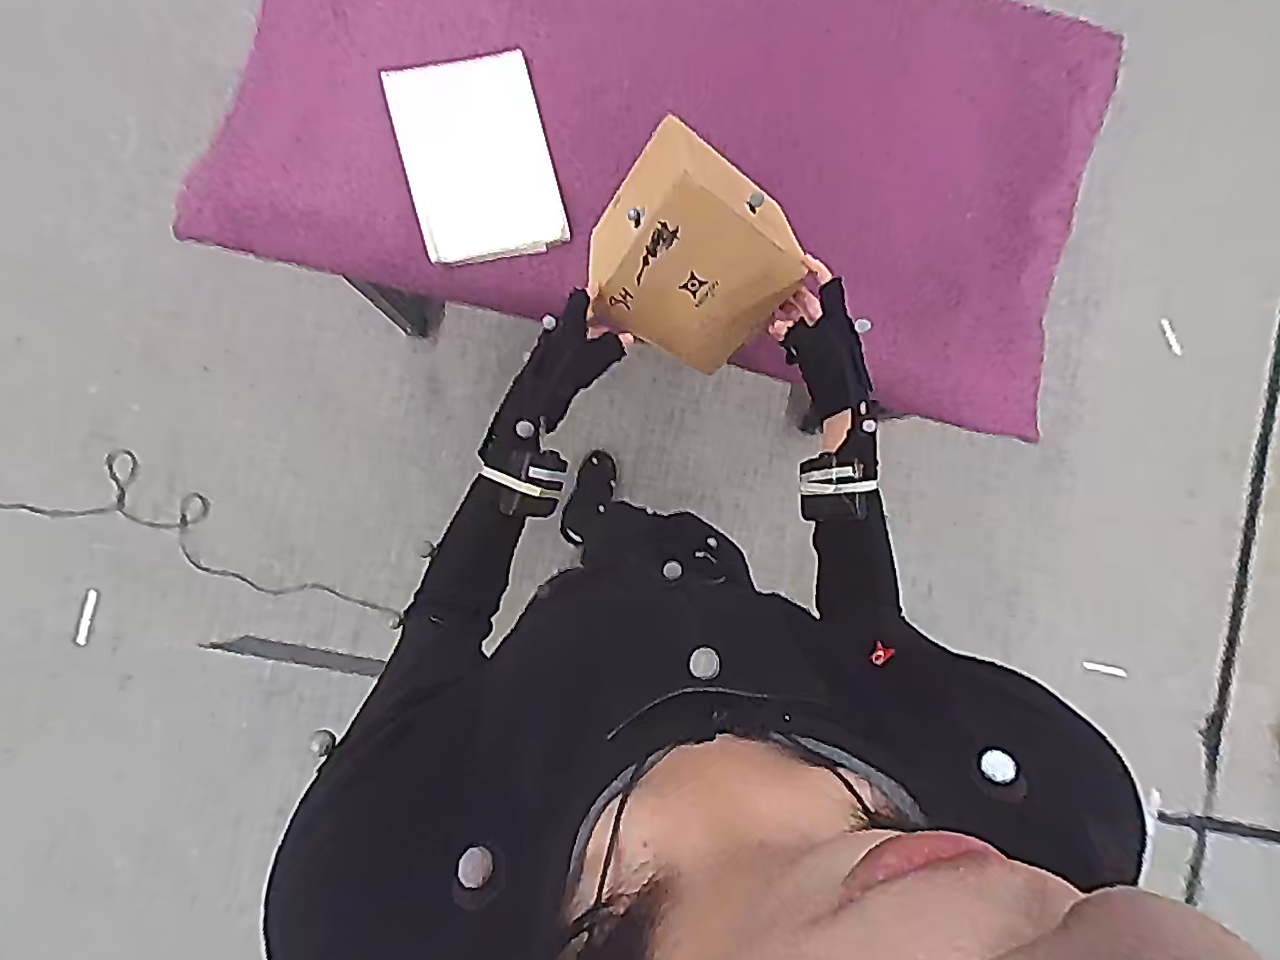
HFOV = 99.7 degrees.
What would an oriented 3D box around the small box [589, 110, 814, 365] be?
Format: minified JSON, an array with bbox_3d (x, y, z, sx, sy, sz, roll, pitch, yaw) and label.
[{"bbox_3d":[0.059,-0.271,0.608,0.179,0.168,0.176,23,42,-27],"label":"small box"}]
